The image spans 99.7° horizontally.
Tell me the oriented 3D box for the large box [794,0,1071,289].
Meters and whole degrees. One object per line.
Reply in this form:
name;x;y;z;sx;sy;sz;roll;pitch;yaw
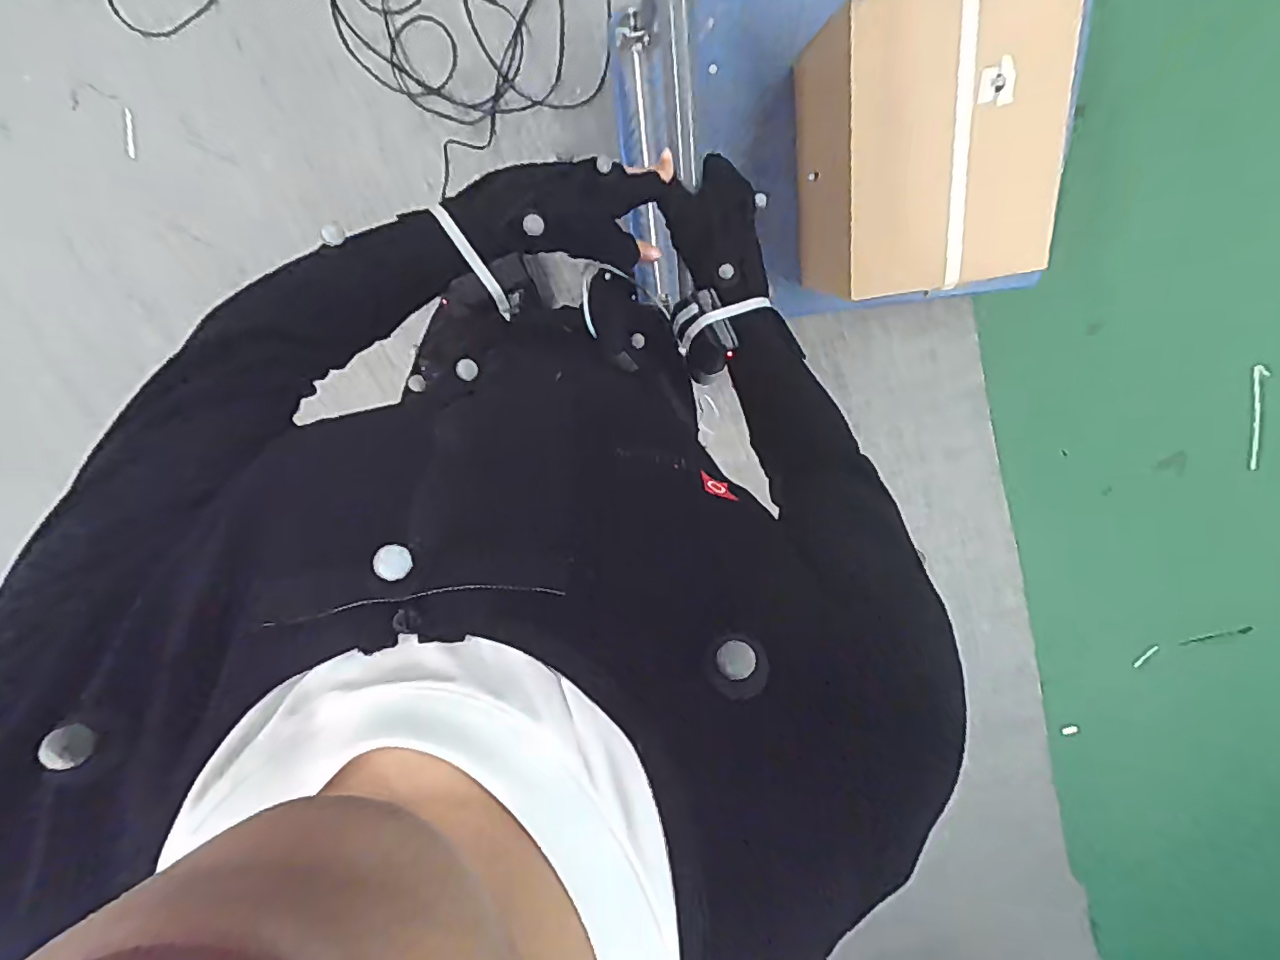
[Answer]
large box;0.463;-0.573;0.938;0.320;0.320;0.408;-8;113;3
